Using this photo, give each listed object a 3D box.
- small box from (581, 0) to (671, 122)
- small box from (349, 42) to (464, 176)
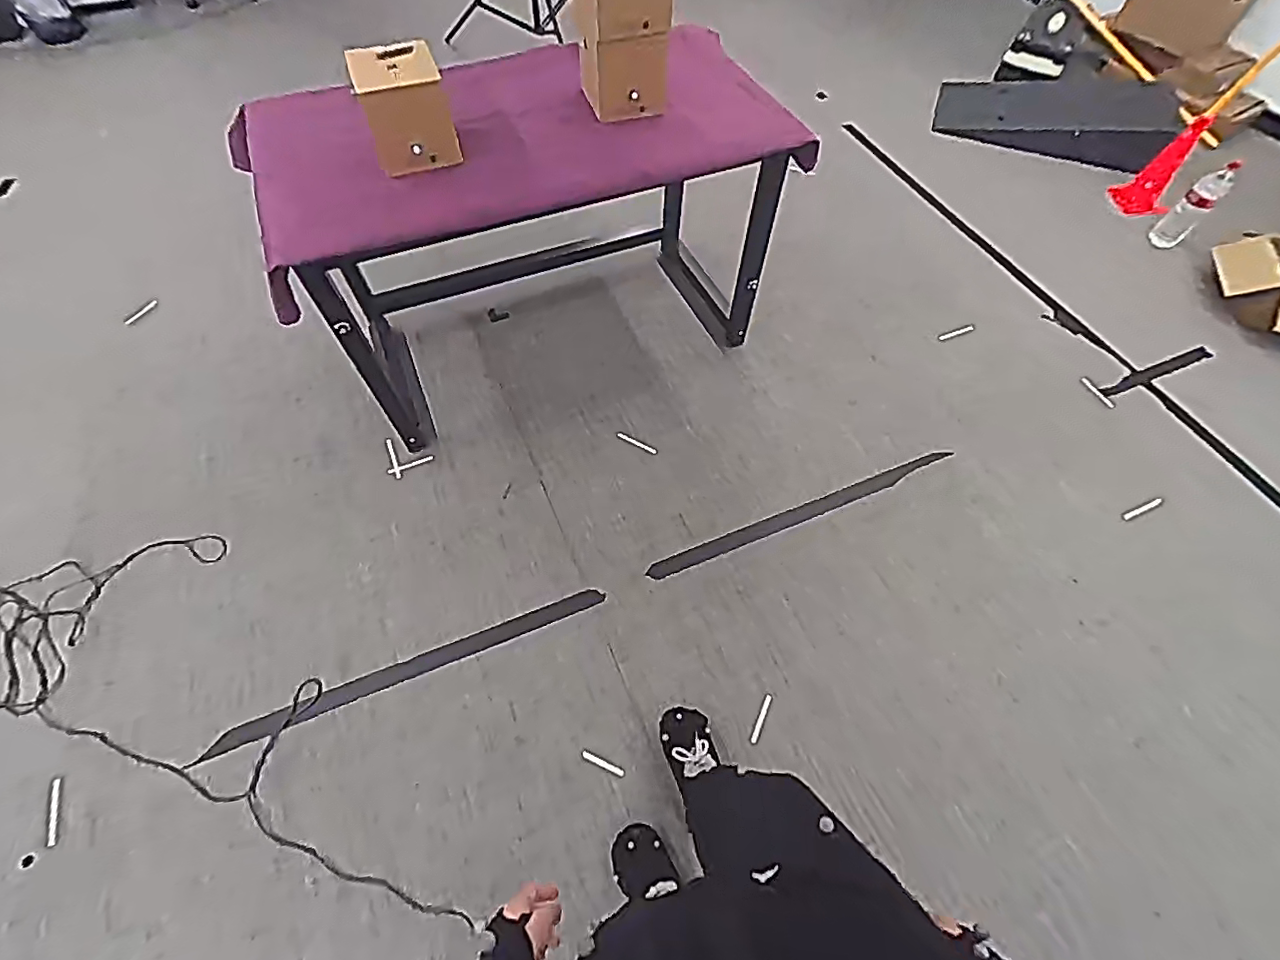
[{"bbox_3d":[-0.035,-0.977,1.266,0.168,0.176,0.179,-16,62,-9],"label":"small box"},{"bbox_3d":[-0.491,-0.785,1.149,0.168,0.176,0.179,-19,63,-11],"label":"small box"}]
